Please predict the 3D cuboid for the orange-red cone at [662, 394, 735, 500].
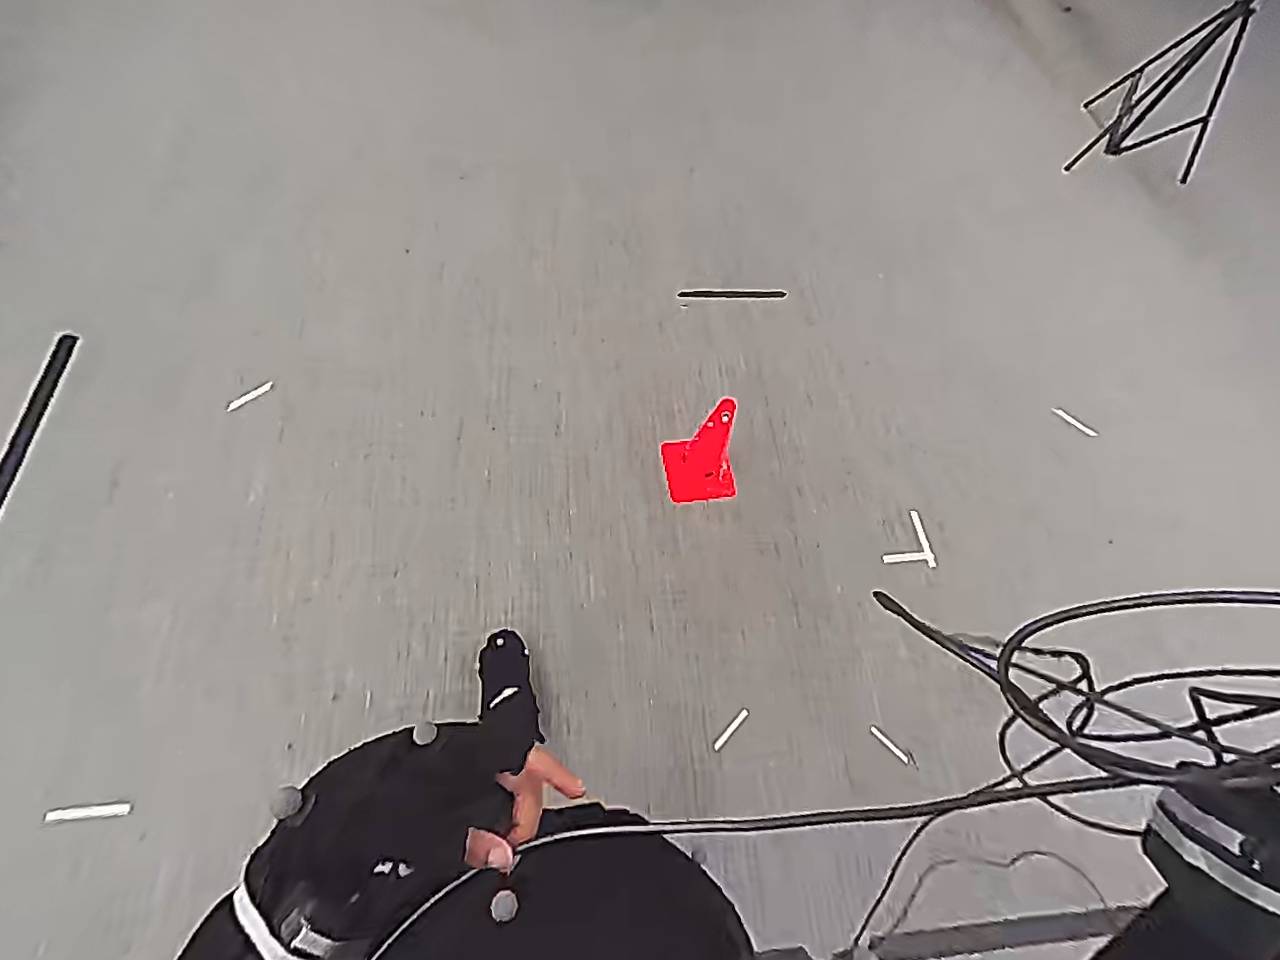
[{"bbox_3d":[0.185,-0.109,1.423,0.199,0.360,0.198,-6,65,-8],"label":"orange-red cone"}]
